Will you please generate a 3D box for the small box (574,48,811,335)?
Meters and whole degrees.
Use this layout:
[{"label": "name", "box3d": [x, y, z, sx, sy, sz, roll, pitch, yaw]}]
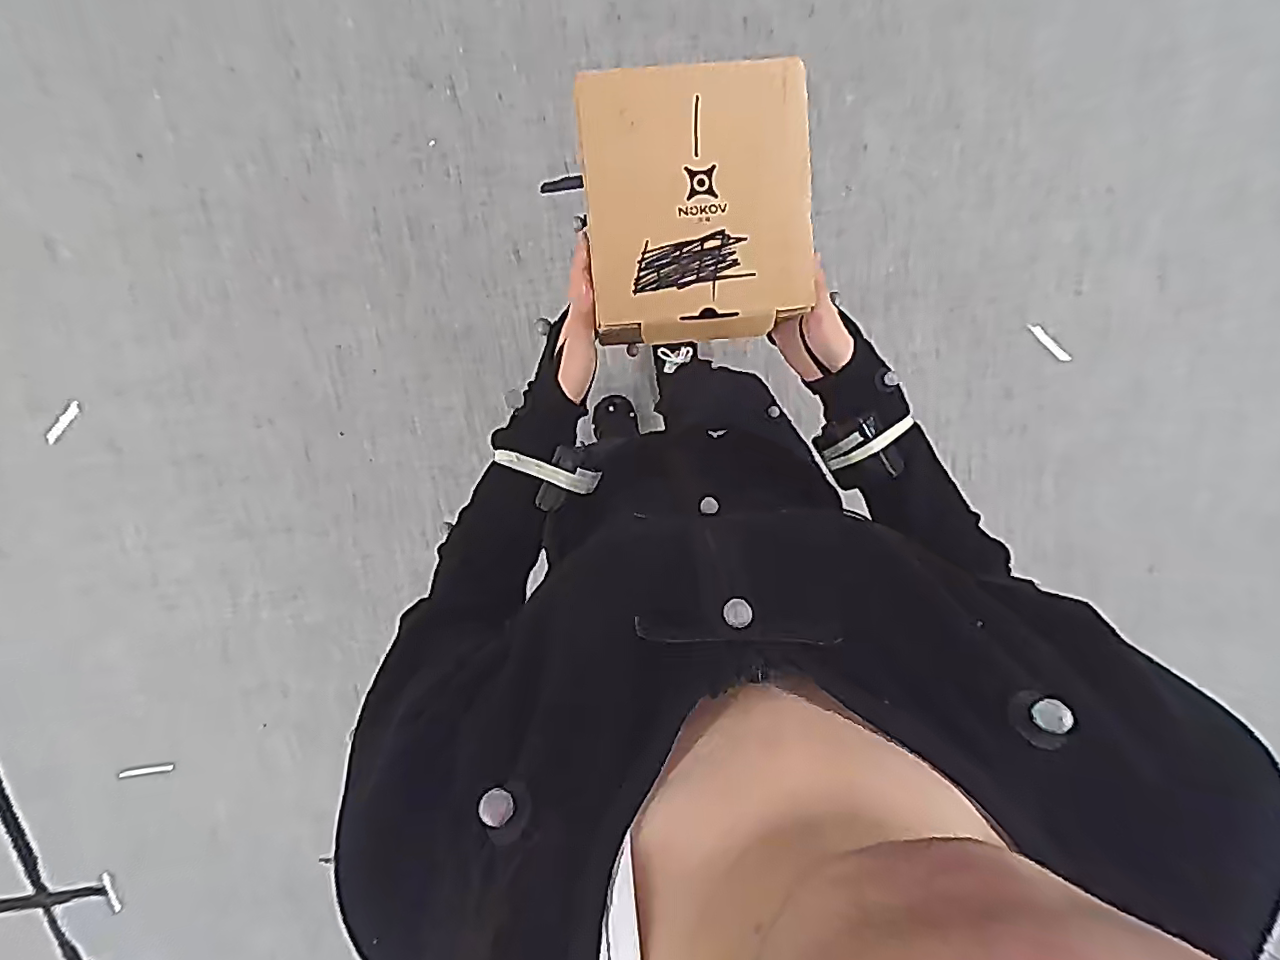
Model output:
[{"label": "small box", "box3d": [0.037, -0.223, 0.467, 0.168, 0.176, 0.179, -6, 99, -3]}]
